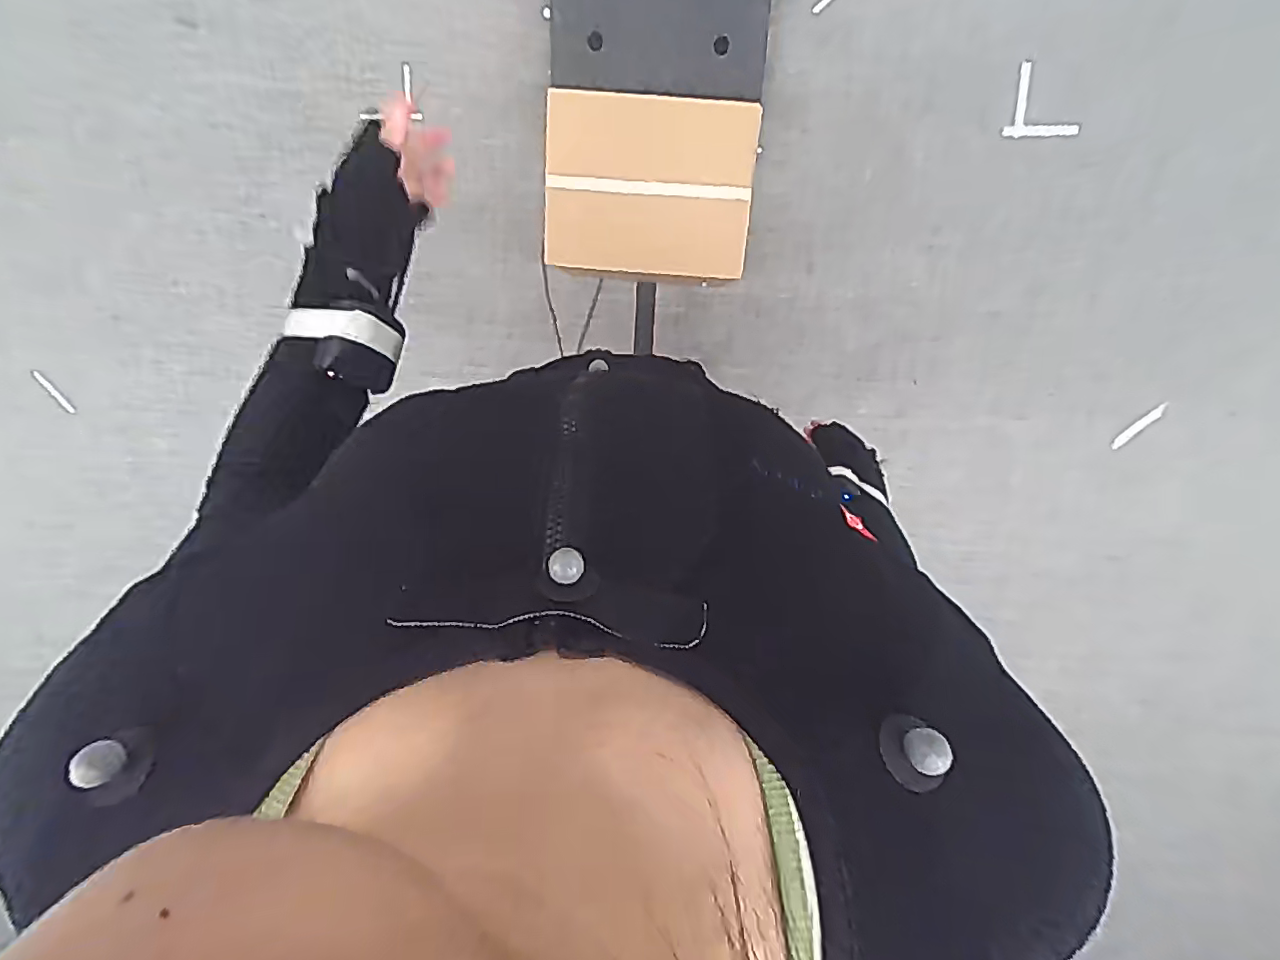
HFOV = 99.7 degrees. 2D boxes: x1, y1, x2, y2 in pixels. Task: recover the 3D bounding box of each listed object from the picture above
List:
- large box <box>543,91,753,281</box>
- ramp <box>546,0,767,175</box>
[{"bbox_3d":[0.013,-0.620,1.202,0.408,0.320,0.320,4,107,0],"label":"large box"},{"bbox_3d":[0.042,-1.190,1.144,0.509,0.206,0.991,1,103,-1],"label":"ramp"}]
